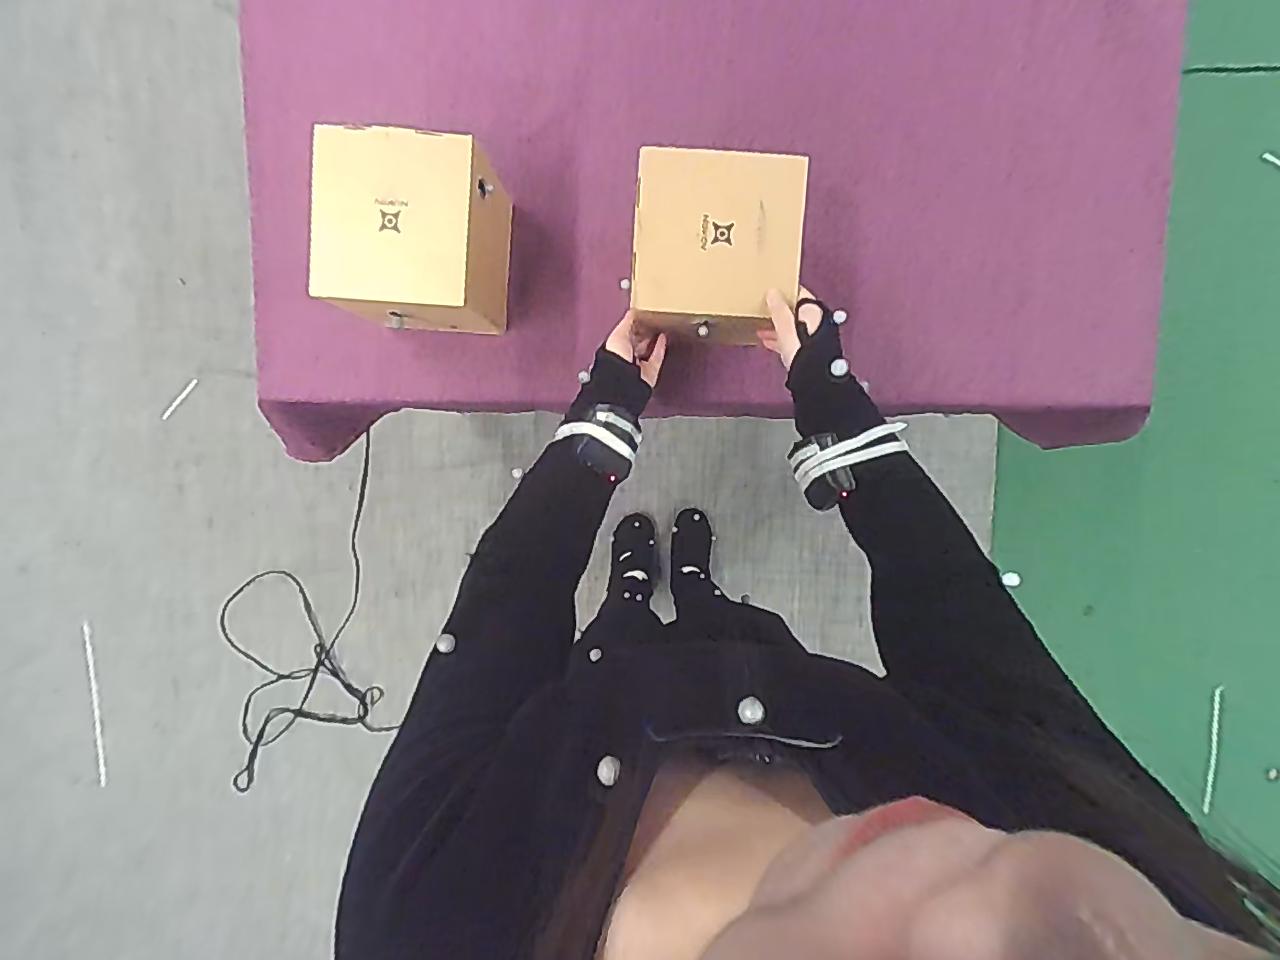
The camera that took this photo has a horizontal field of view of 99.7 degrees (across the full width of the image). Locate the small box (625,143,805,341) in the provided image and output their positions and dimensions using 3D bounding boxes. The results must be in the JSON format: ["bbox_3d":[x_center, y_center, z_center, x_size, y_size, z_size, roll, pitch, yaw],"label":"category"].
[{"bbox_3d":[0.078,-0.264,0.637,0.179,0.176,0.168,4,95,0],"label":"small box"}]

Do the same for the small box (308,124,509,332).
[{"bbox_3d":[-0.259,-0.281,0.641,0.168,0.176,0.179,4,93,1],"label":"small box"}]
